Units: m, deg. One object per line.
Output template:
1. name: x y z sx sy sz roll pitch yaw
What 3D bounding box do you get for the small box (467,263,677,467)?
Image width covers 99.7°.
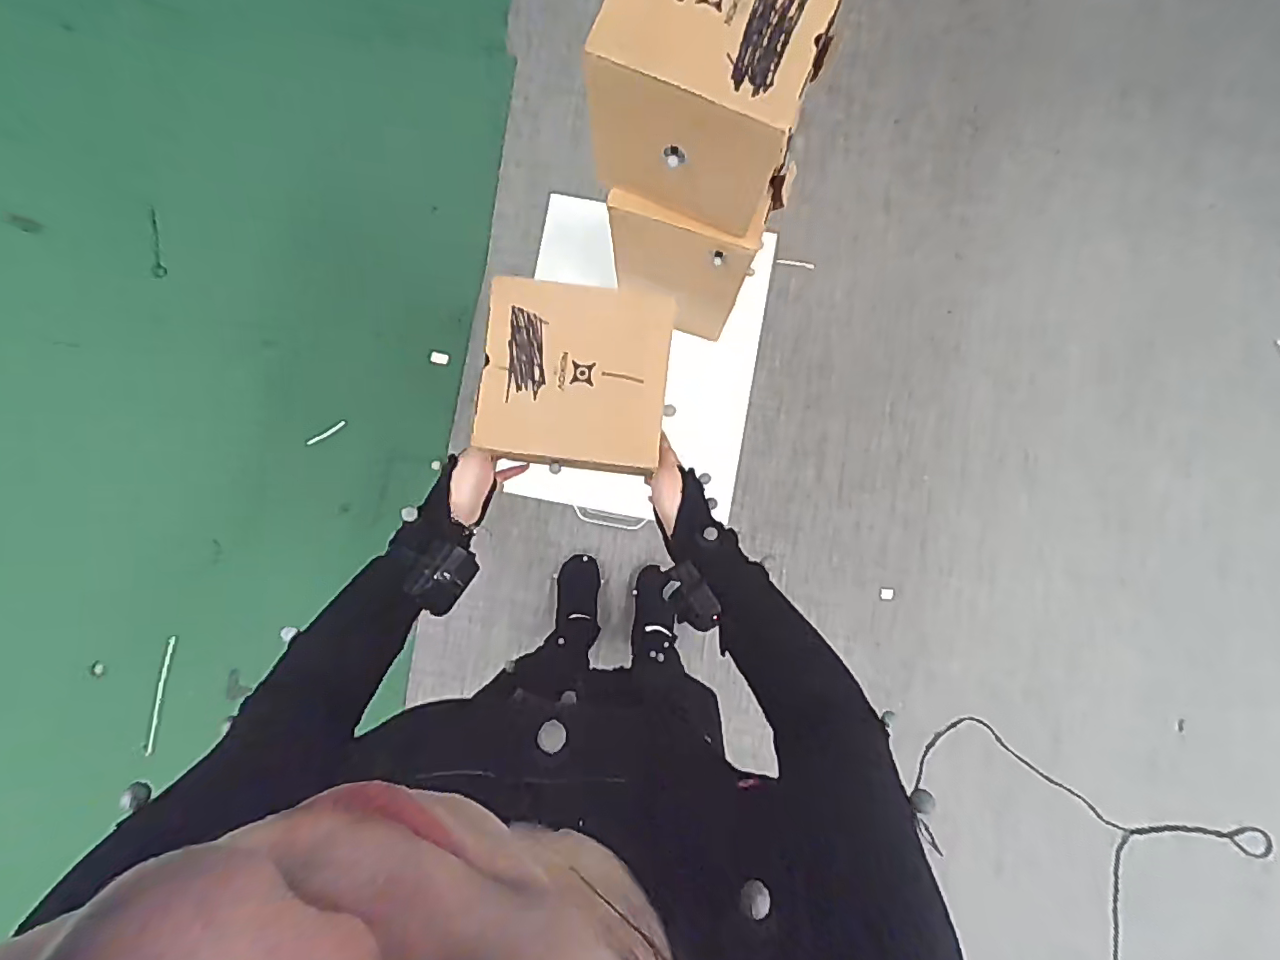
1. small box: -0.063 -0.107 0.575 0.179 0.176 0.168 7 88 -1

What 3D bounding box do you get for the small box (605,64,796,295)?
1. small box: 0.066 -0.353 0.671 0.179 0.176 0.168 17 87 0

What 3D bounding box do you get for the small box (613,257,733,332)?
1. small box: 0.069 -0.347 0.834 0.179 0.176 0.168 18 88 1
